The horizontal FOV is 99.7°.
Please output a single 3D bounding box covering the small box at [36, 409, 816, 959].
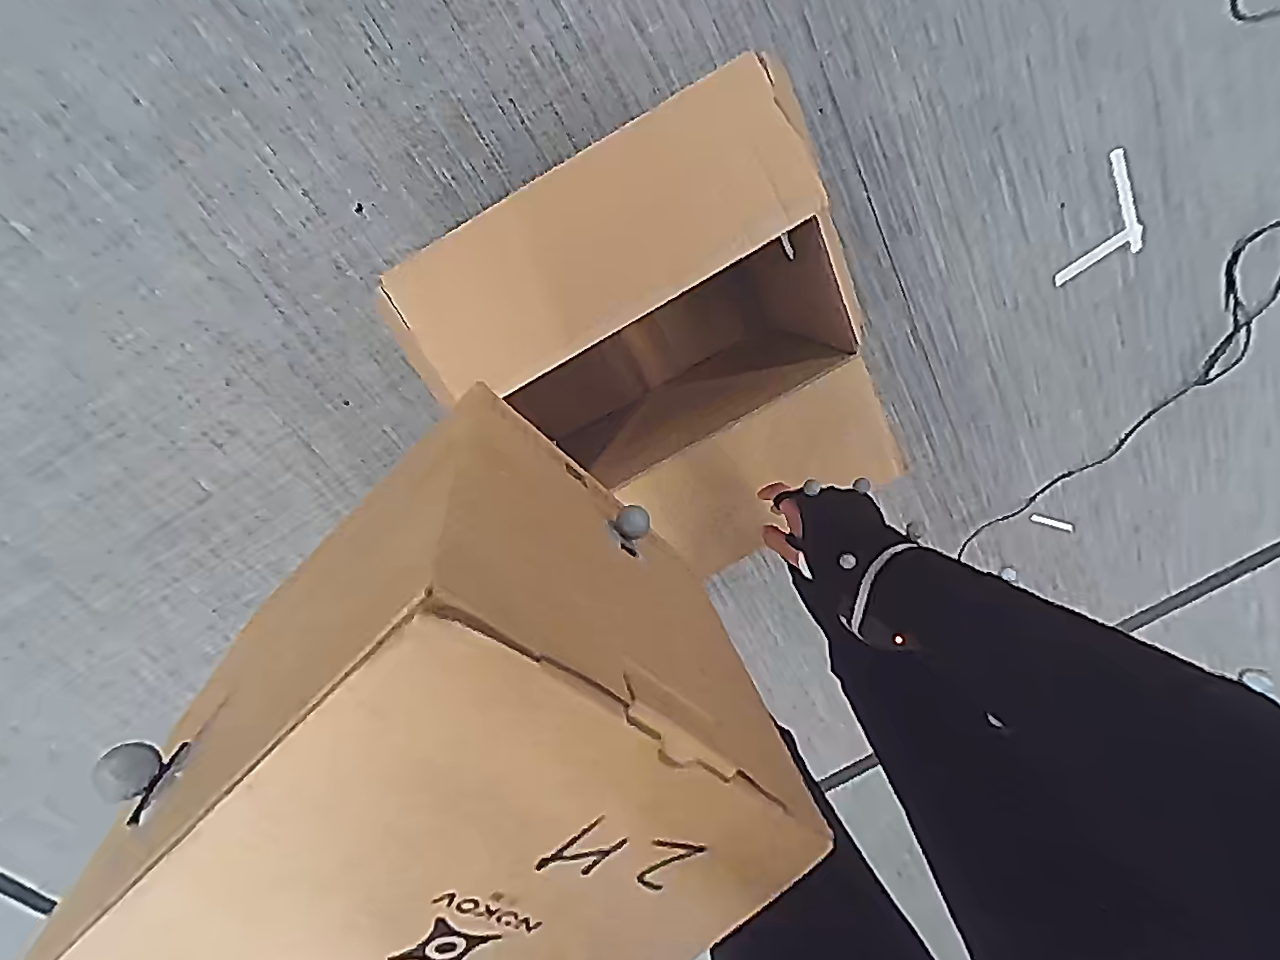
[{"bbox_3d":[-0.068,0.099,0.235,0.179,0.176,0.168,-43,117,8],"label":"small box"}]
